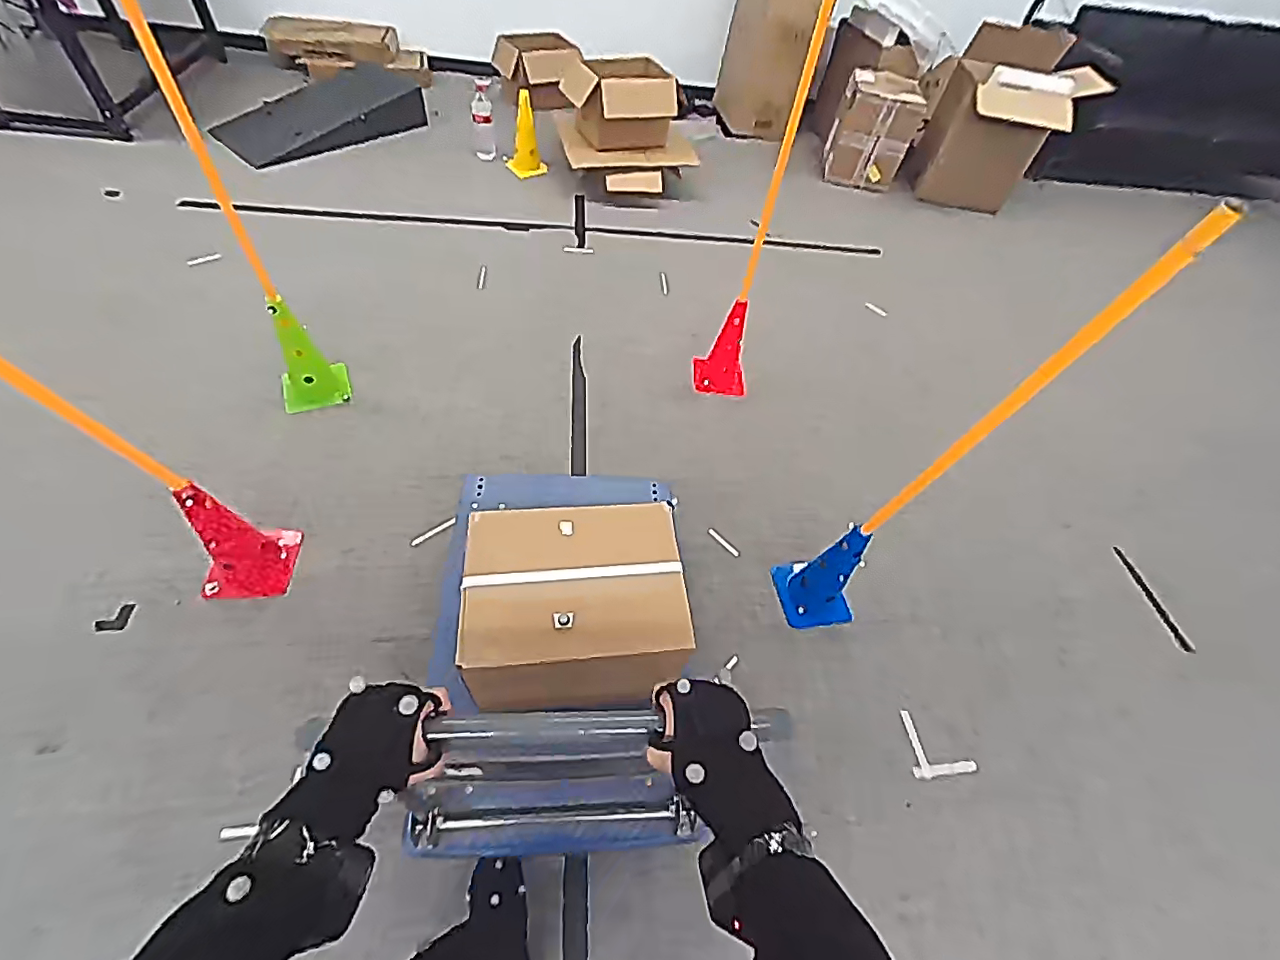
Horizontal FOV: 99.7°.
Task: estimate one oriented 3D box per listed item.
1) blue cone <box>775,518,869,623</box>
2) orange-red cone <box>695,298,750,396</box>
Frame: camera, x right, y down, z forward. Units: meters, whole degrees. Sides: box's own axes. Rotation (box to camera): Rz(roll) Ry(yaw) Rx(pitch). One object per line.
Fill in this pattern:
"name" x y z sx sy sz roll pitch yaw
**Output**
"blue cone" 0.528 0.229 1.468 0.193 0.380 0.192 -2 53 -11
"orange-red cone" 0.334 -0.505 1.972 0.199 0.360 0.198 6 53 -5
